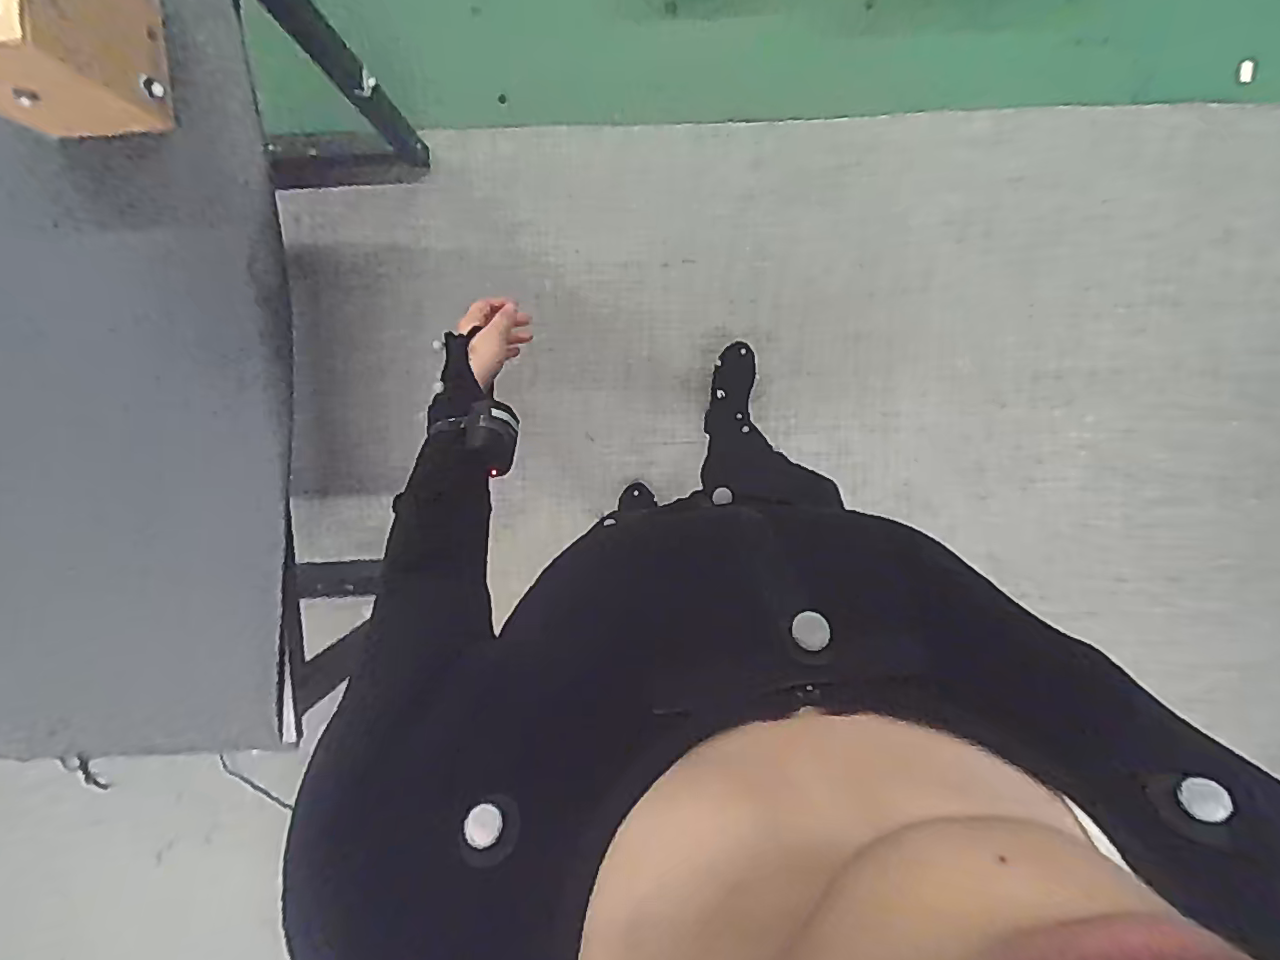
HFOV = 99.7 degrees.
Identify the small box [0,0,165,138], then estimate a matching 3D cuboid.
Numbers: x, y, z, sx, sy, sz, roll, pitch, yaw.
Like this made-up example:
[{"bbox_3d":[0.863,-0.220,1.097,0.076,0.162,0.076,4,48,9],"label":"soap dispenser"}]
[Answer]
[{"bbox_3d":[-0.694,-0.520,0.617,0.179,0.176,0.168,-2,96,4],"label":"small box"}]
